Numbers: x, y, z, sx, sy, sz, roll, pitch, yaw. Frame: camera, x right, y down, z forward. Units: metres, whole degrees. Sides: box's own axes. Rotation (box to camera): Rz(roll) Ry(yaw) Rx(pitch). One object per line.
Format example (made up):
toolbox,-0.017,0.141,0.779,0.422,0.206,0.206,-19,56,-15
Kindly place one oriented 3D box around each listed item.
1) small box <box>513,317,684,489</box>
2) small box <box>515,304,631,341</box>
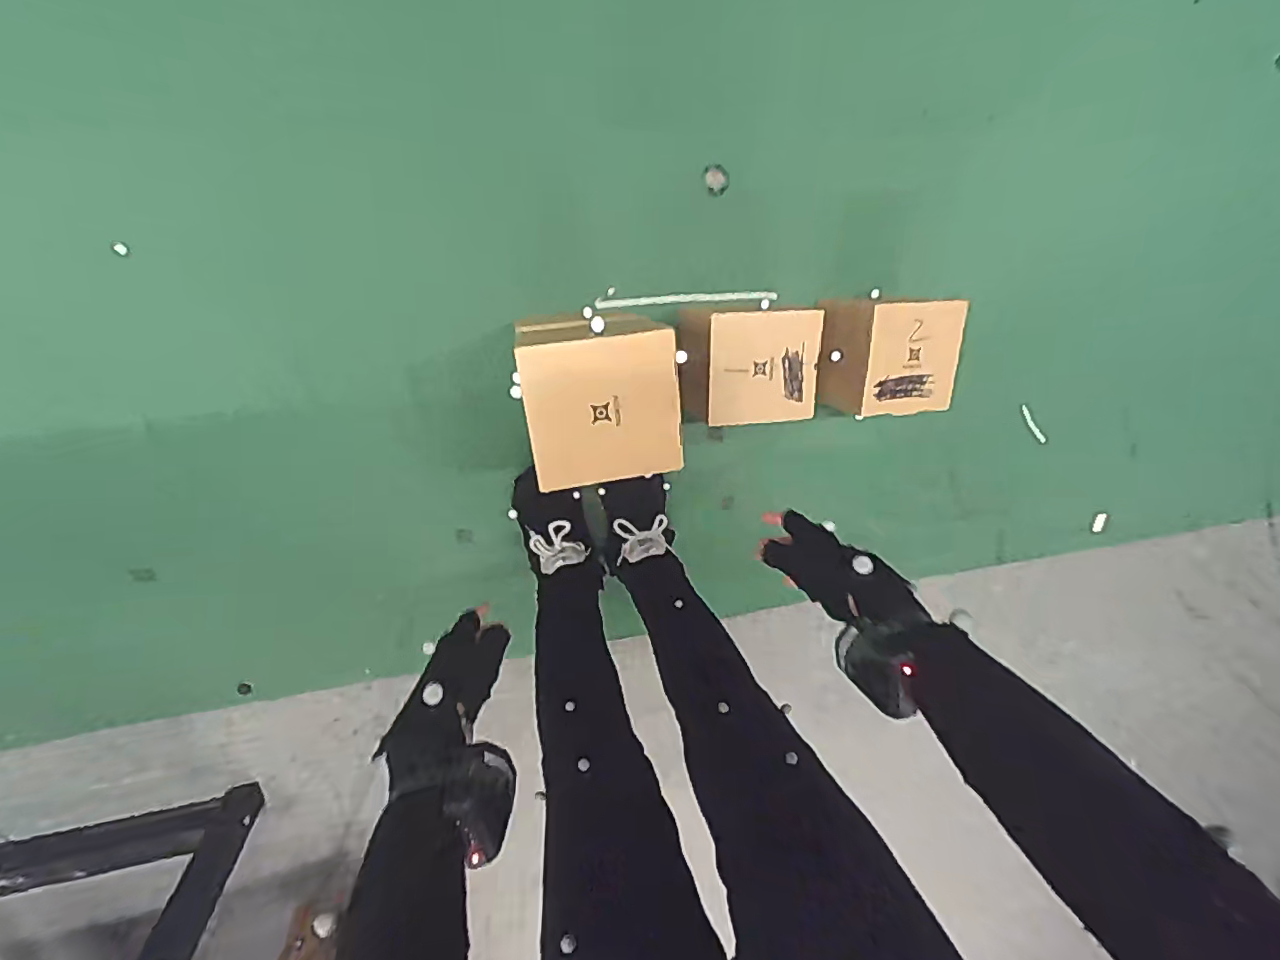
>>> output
small box,-0.055,-0.104,0.671,0.179,0.176,0.168,-10,113,-9
small box,-0.093,-0.162,0.819,0.168,0.176,0.179,-9,114,-10
